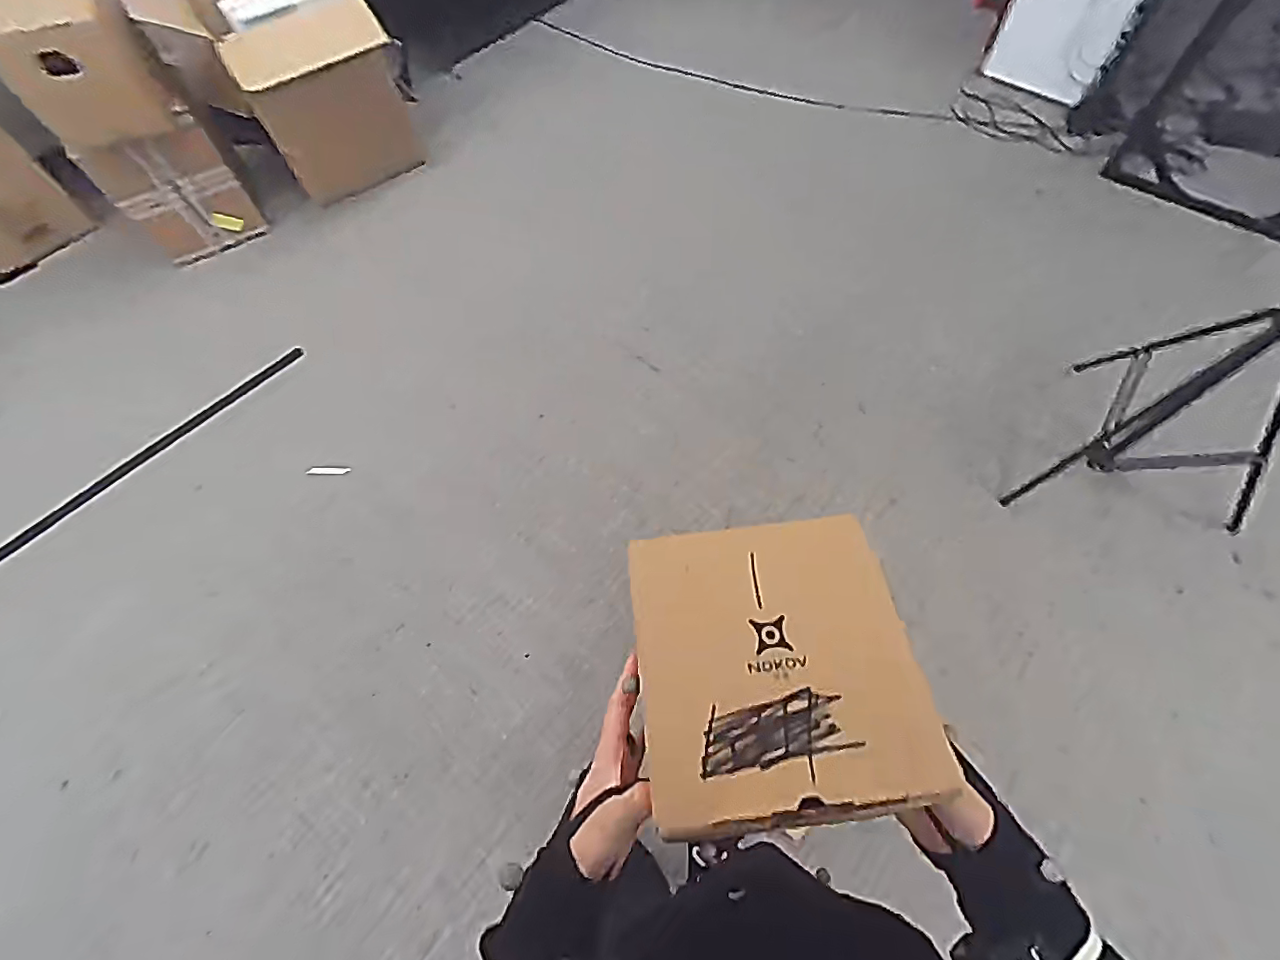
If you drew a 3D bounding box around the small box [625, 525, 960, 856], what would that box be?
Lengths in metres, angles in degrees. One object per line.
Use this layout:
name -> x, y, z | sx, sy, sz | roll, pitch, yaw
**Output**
small box -> 0.083, 0.157, 0.391 | 0.168, 0.176, 0.179 | -7, 54, -1
